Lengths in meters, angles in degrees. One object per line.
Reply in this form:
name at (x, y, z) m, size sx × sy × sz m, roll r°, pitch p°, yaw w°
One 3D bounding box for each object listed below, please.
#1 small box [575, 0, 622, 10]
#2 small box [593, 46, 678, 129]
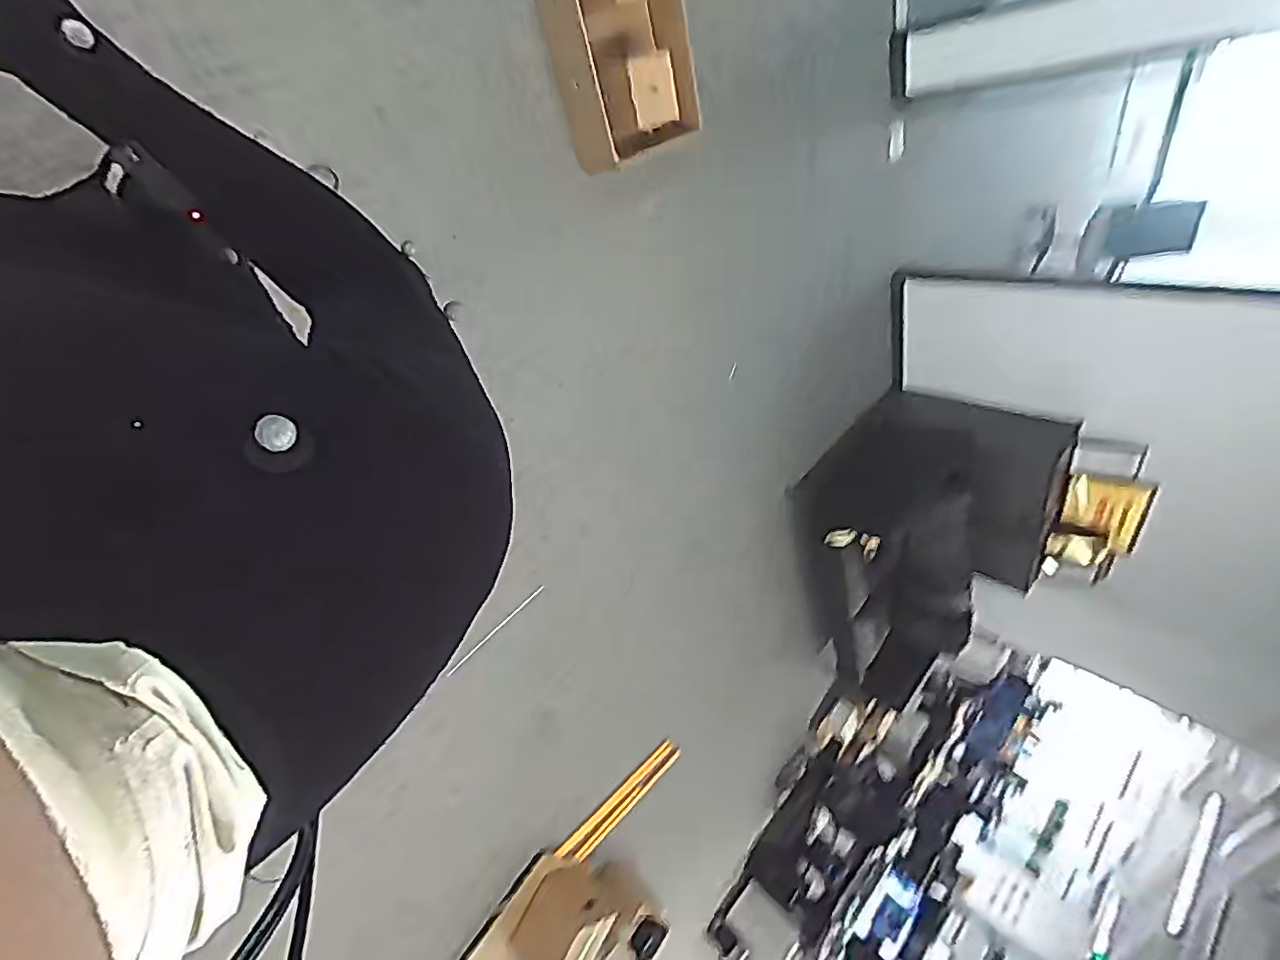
small box at (-0.078, -1.407, 1.459) m, size 0.179 × 0.176 × 0.168 m, roll -39°, pitch 132°, yaw -27°
small box at (-0.013, -1.180, 1.630) m, size 0.179 × 0.176 × 0.168 m, roll -37°, pitch 131°, yaw -26°
